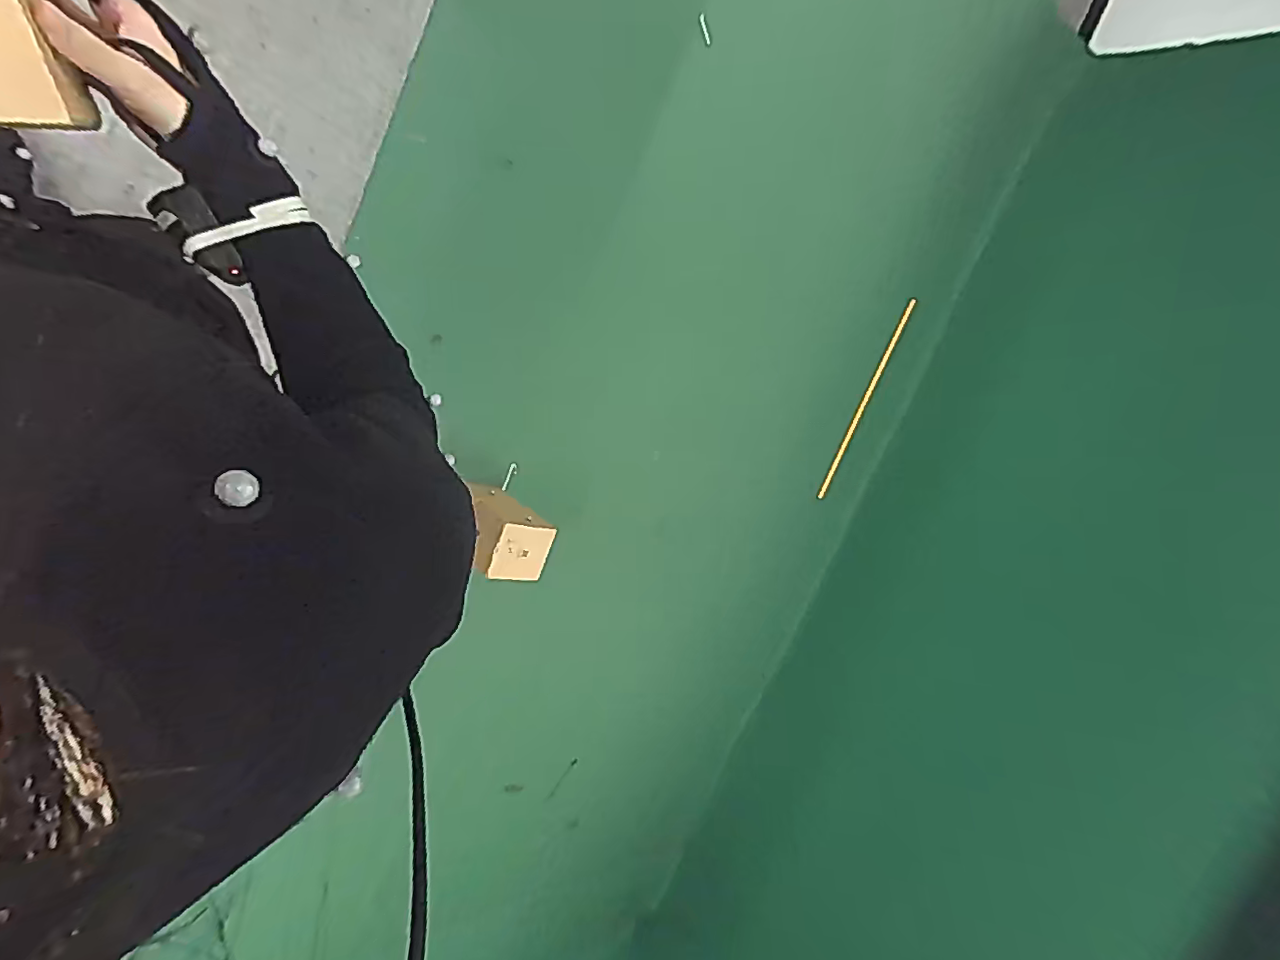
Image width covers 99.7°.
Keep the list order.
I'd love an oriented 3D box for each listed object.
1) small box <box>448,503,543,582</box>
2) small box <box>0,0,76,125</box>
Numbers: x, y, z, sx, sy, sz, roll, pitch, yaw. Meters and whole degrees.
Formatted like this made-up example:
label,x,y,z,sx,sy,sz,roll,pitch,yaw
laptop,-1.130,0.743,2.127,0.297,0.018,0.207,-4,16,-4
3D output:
label,x,y,z,sx,sy,sz,roll,pitch,yaw
small box,-0.415,0.179,1.549,0.179,0.176,0.168,15,99,-47
small box,-0.412,-0.272,0.247,0.168,0.176,0.179,-19,126,-32
